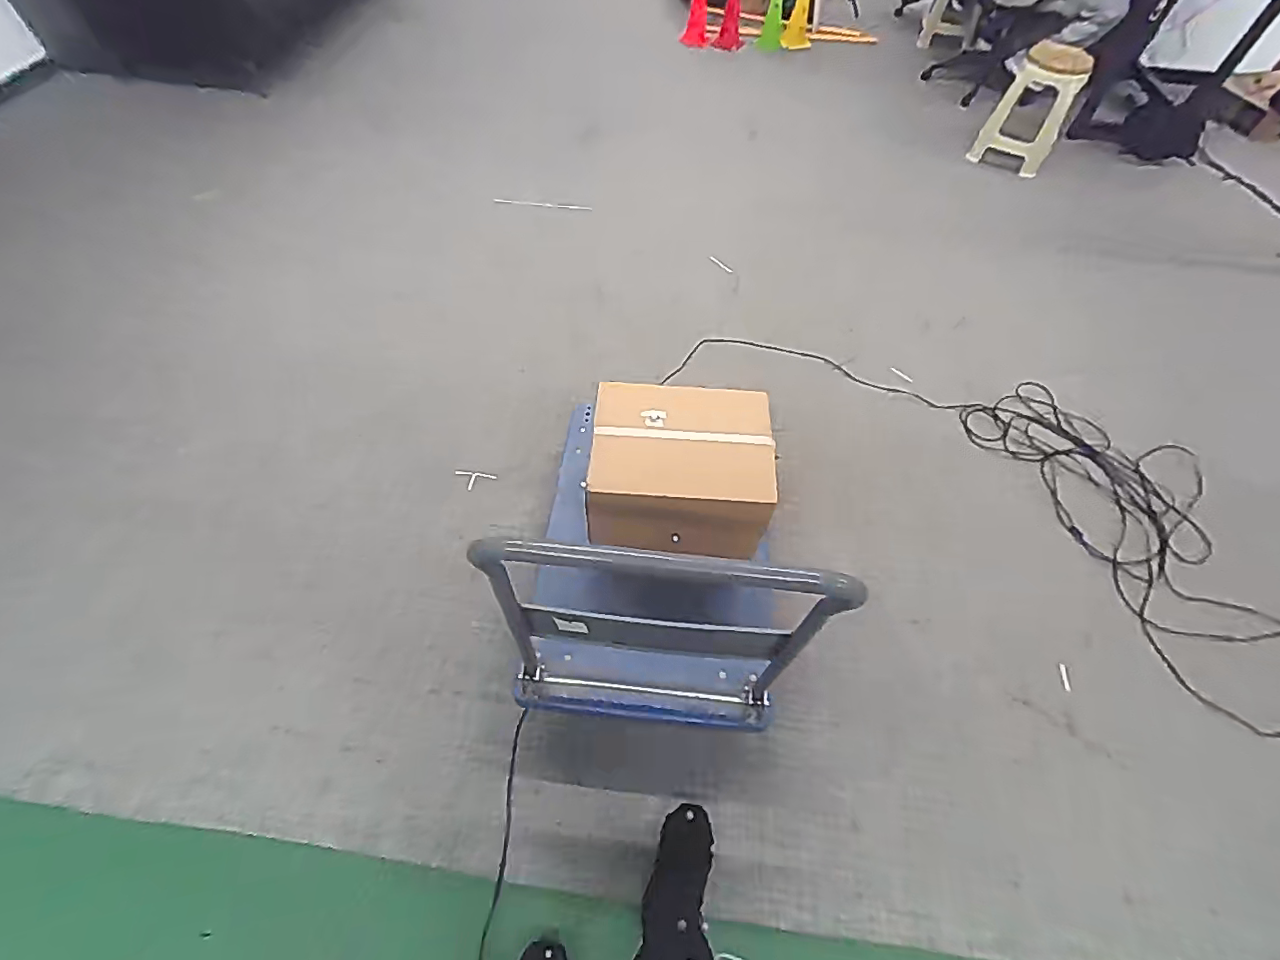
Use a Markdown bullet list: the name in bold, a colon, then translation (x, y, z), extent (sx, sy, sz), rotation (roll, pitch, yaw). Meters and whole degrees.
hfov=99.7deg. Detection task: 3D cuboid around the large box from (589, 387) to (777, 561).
- **large box**: translation (0.095, -0.005, 1.341), extent (0.408, 0.320, 0.320), rotation (4, 56, 1)
